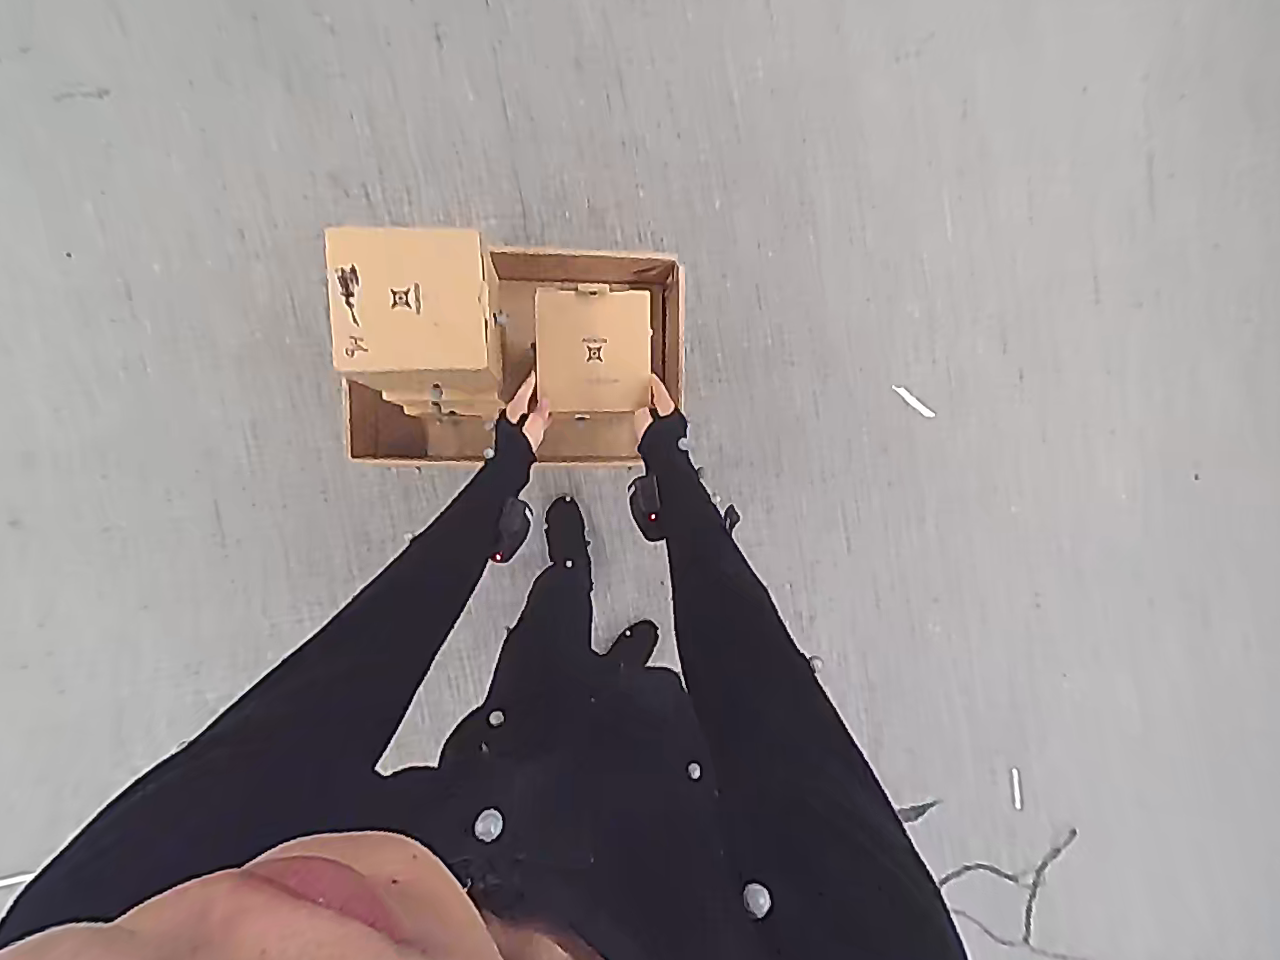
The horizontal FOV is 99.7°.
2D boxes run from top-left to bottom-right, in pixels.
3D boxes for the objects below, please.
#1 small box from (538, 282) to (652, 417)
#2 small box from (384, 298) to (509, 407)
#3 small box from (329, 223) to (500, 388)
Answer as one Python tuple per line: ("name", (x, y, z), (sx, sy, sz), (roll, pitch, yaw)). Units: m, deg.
("small box", (-0.075, -0.194, 0.849), (0.168, 0.176, 0.179), (-1, 93, -8))
("small box", (-0.302, -0.211, 0.869), (0.168, 0.176, 0.179), (-1, 92, -9))
("small box", (-0.277, -0.214, 0.706), (0.179, 0.176, 0.168), (-2, 92, -9))
